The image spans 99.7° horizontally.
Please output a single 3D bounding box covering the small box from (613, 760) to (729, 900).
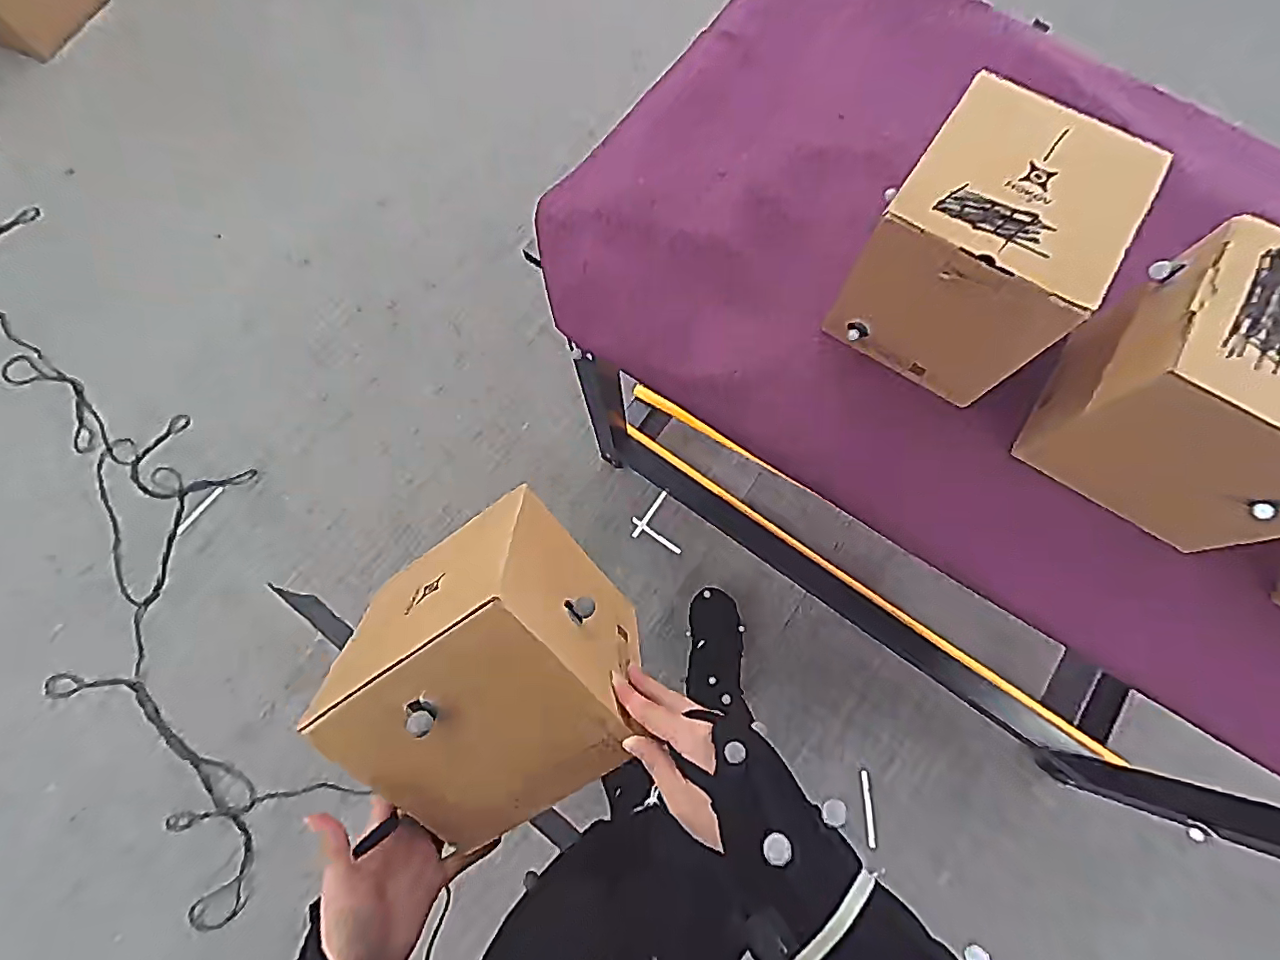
[{"bbox_3d":[0.052,0.641,1.003,0.179,0.176,0.168,-14,71,-4],"label":"small box"}]

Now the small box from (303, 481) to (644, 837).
[{"bbox_3d":[-0.109,0.138,0.437,0.179,0.168,0.176,-35,112,10],"label":"small box"}]
